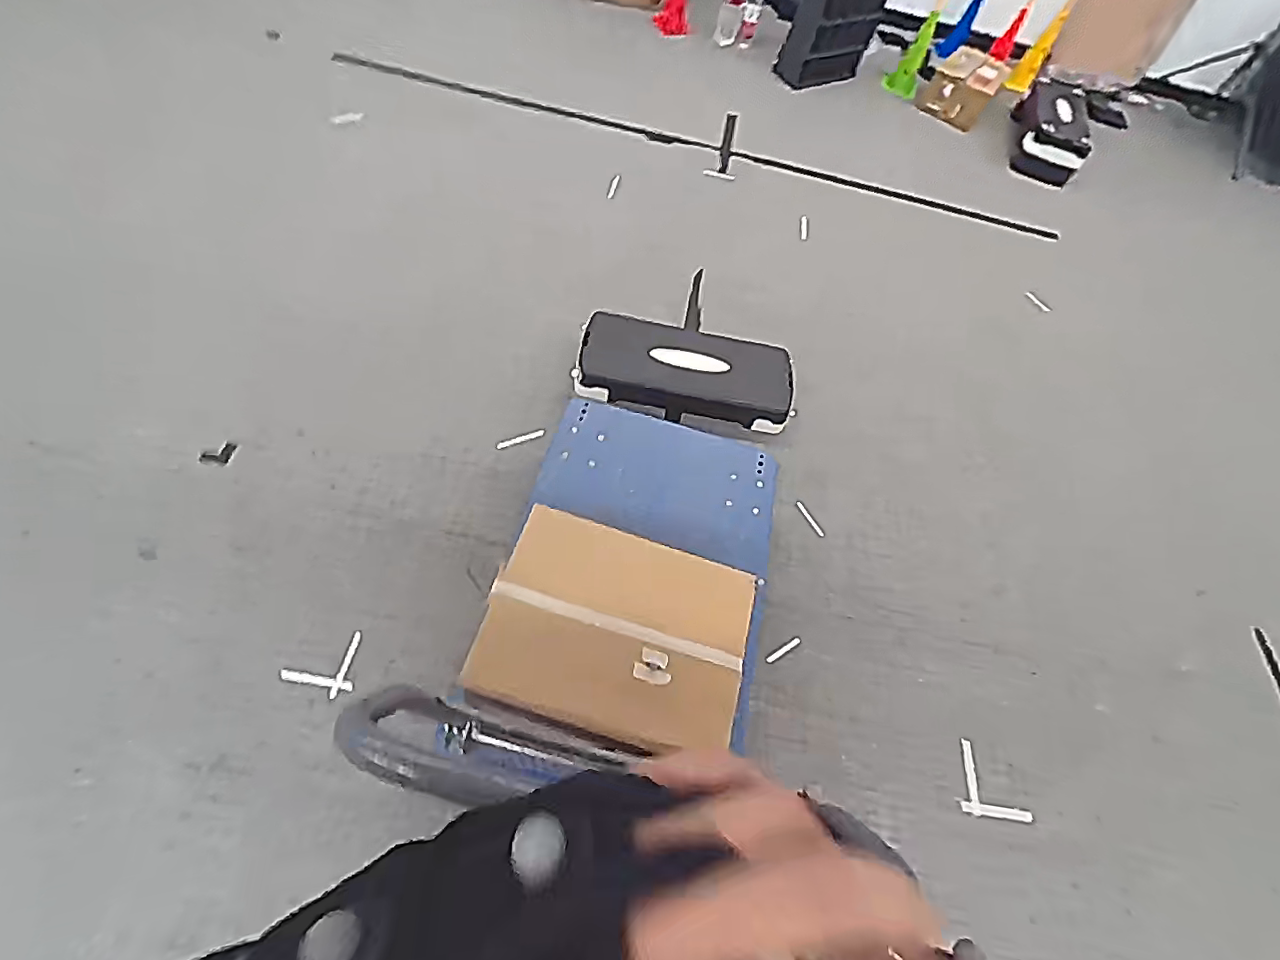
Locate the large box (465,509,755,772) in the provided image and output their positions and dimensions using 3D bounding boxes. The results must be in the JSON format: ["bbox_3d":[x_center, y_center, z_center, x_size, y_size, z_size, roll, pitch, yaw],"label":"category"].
[{"bbox_3d":[-0.055,0.302,0.978,0.408,0.320,0.320,19,60,-1],"label":"large box"}]
